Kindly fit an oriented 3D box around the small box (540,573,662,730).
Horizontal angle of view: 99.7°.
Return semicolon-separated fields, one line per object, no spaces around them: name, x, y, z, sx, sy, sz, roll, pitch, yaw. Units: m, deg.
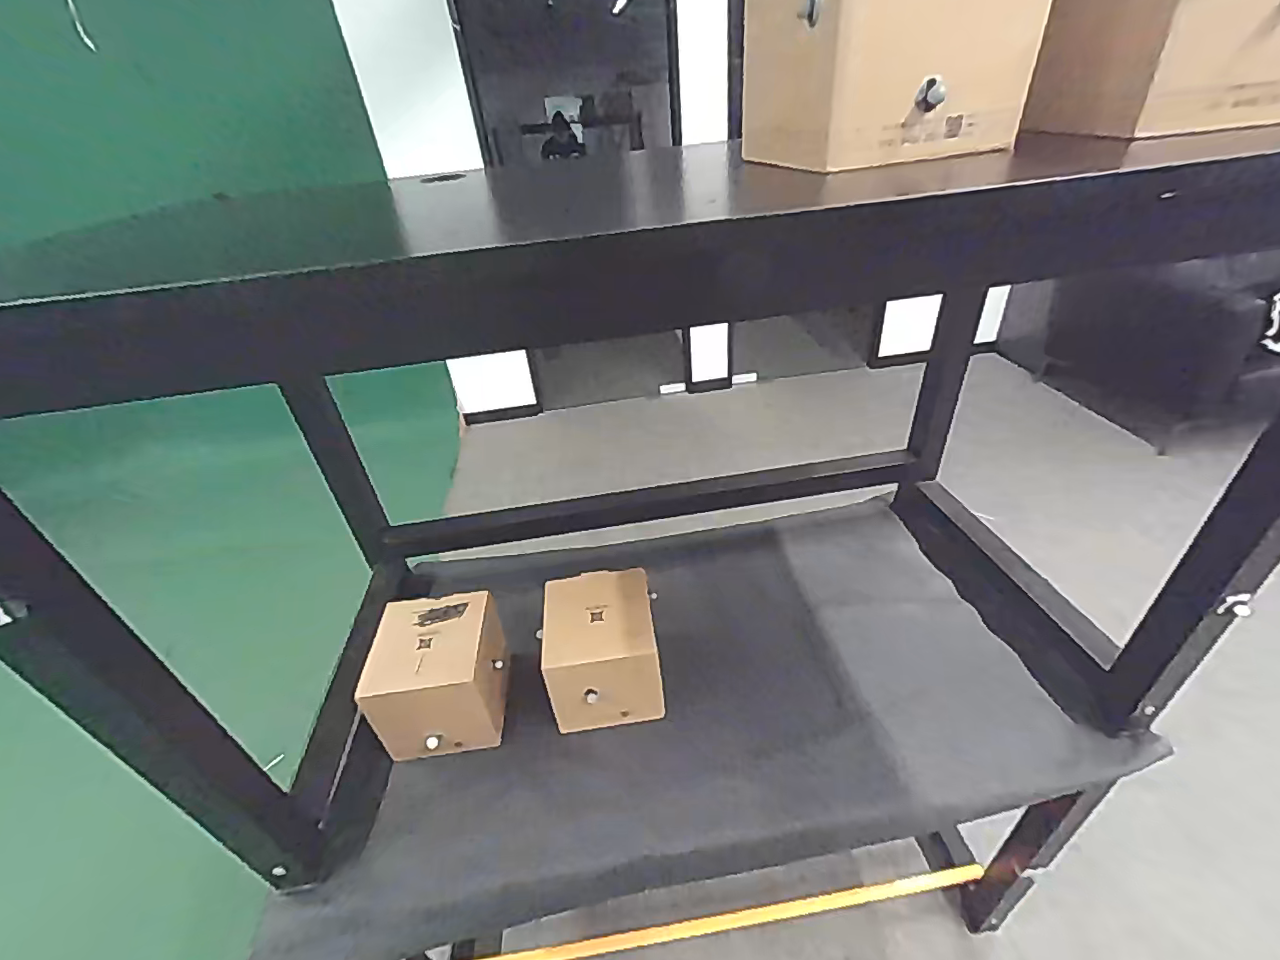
small box;-0.060;0.279;0.869;0.168;0.176;0.179;-8;34;-3

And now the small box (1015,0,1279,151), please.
small box;0.443;-0.366;0.428;0.168;0.176;0.179;-2;34;6

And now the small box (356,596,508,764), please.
small box;-0.311;0.312;0.854;0.168;0.176;0.179;-8;35;-2
